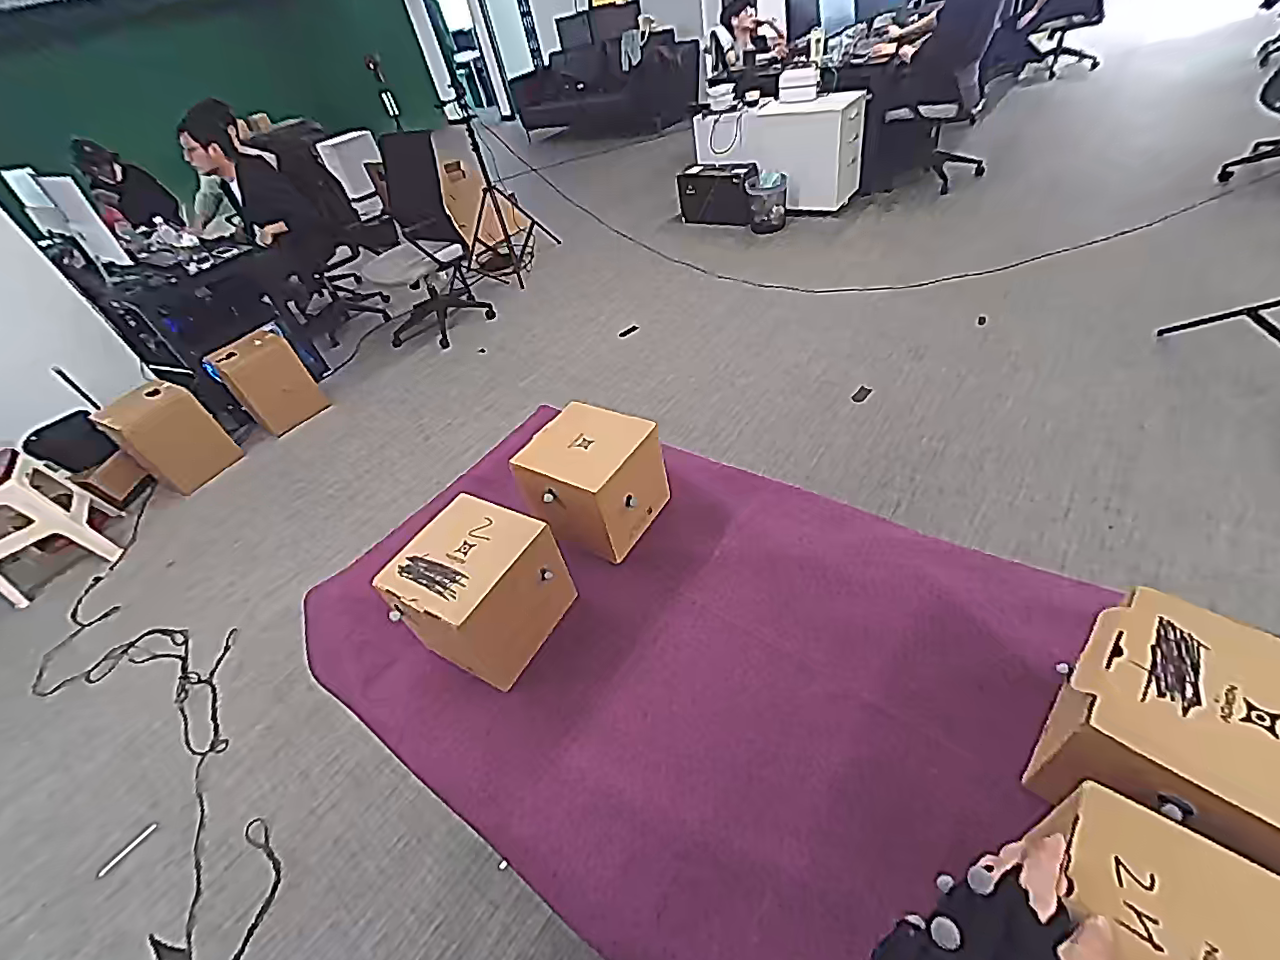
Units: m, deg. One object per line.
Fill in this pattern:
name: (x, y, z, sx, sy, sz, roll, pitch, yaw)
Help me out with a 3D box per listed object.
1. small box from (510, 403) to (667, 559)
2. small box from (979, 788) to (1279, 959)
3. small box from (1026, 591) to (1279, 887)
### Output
small box: (-0.073, 0.004, 0.884, 0.179, 0.176, 0.168, 18, 52, 30)
small box: (0.368, 0.367, 0.381, 0.179, 0.176, 0.168, 24, 55, 35)
small box: (0.489, 0.241, 0.485, 0.179, 0.176, 0.168, 28, 59, 35)
